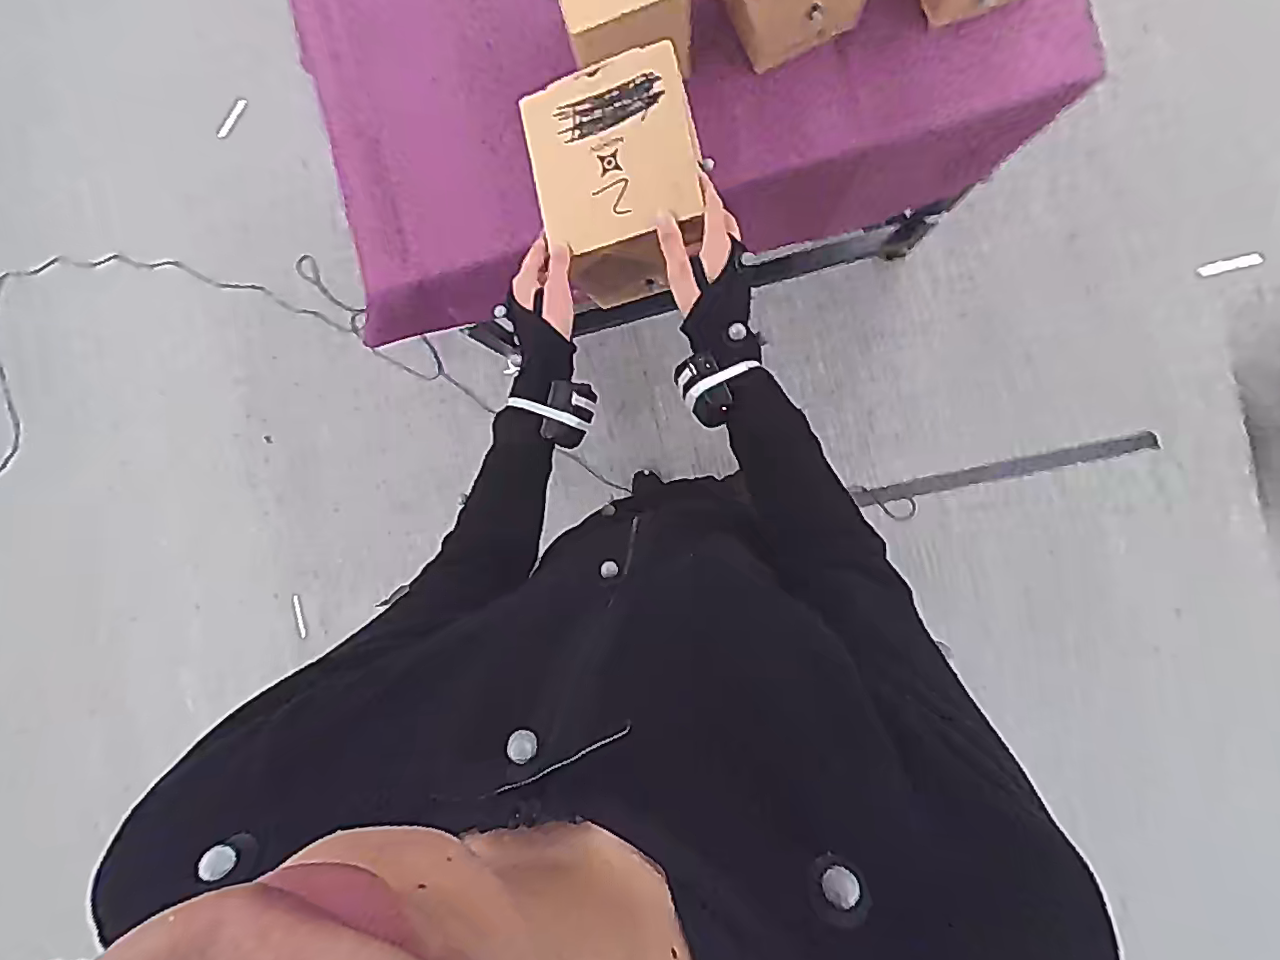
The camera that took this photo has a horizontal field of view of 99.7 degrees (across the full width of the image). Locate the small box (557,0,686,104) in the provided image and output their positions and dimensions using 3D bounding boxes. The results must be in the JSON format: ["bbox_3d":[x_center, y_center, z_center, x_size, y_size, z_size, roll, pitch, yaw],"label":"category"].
[{"bbox_3d":[-0.035,-0.708,0.791,0.168,0.176,0.179,-18,91,6],"label":"small box"}]

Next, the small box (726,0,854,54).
[{"bbox_3d":[0.212,-0.757,0.764,0.168,0.176,0.179,-23,89,6],"label":"small box"}]

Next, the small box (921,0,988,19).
[{"bbox_3d":[0.480,-0.800,0.736,0.168,0.176,0.179,-17,89,7],"label":"small box"}]
